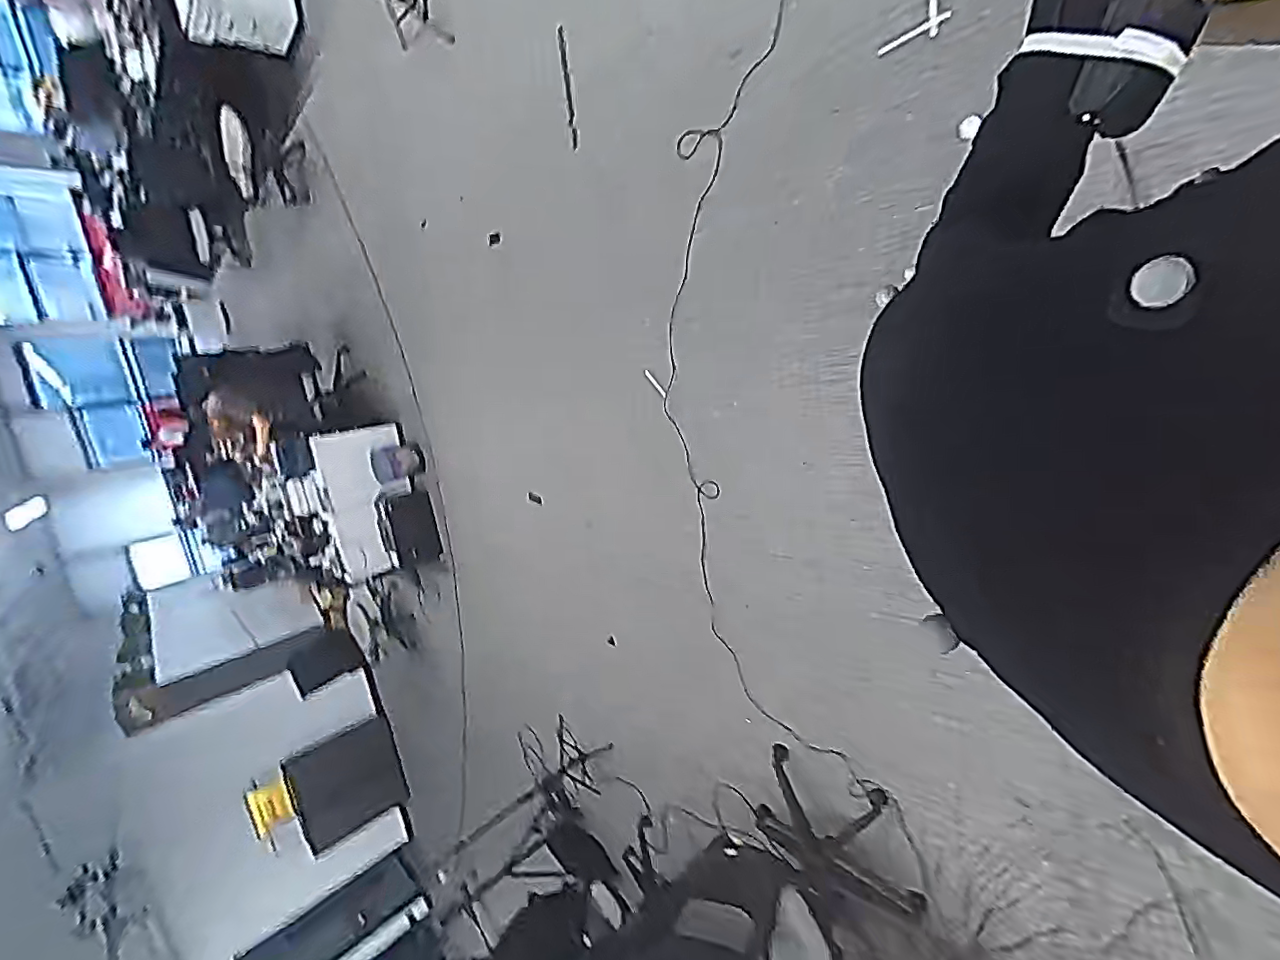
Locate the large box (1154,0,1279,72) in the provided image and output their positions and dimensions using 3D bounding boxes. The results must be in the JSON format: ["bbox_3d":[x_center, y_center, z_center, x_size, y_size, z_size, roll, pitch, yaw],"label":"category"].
[{"bbox_3d":[0.566,-0.406,0.250,0.408,0.320,0.320,24,131,33],"label":"large box"}]
